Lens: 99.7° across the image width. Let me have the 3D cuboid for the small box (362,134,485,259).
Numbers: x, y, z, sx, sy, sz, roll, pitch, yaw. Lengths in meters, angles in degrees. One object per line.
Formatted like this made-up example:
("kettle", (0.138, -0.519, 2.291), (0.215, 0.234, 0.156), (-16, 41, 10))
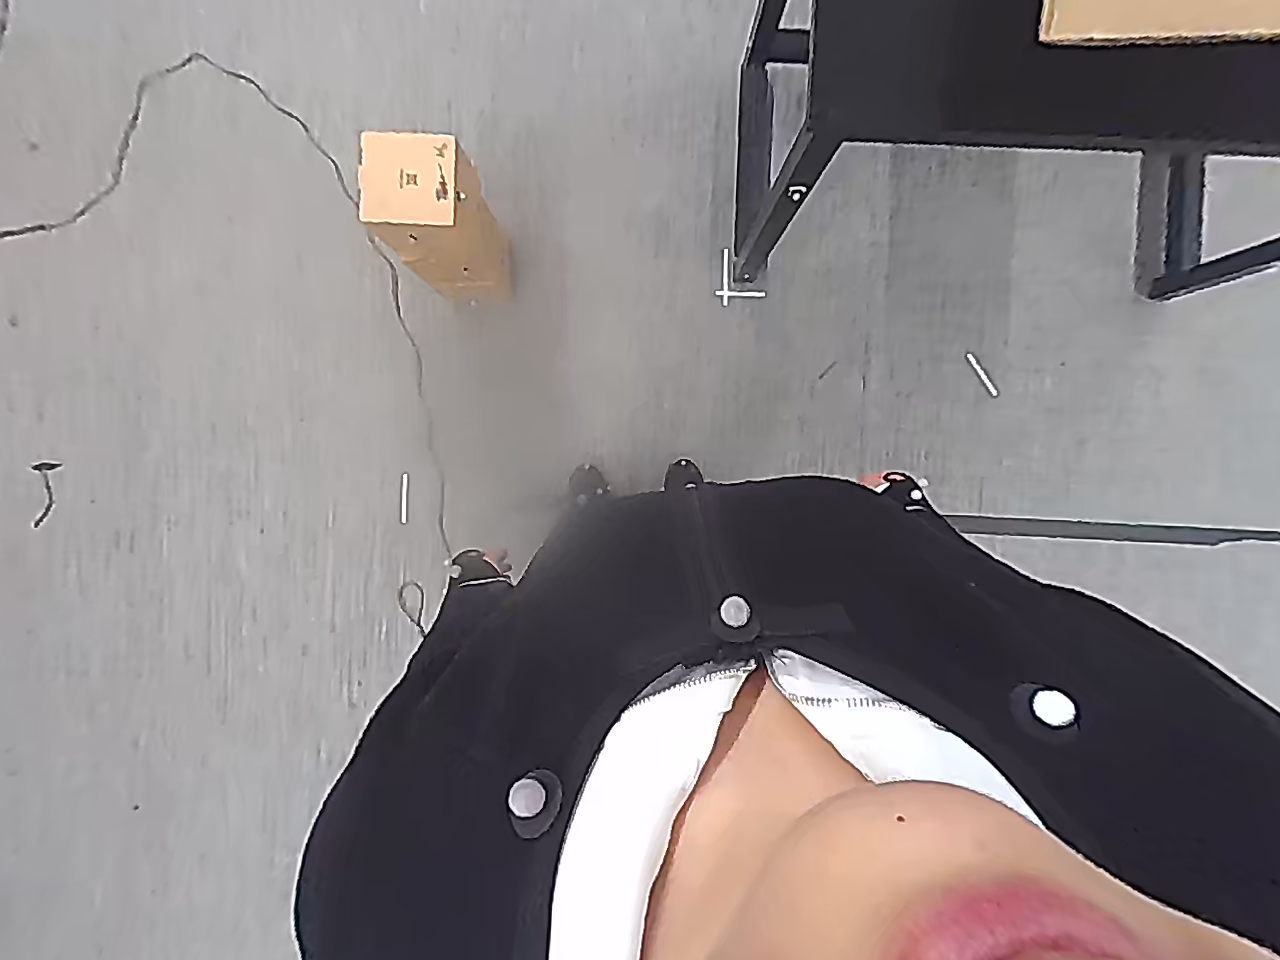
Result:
("small box", (-0.422, -0.553, 1.075), (0.179, 0.176, 0.168), (2, 92, 0))

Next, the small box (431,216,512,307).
("small box", (-0.433, -0.560, 1.400), (0.168, 0.176, 0.179), (-1, 93, 0))

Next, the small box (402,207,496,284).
("small box", (-0.435, -0.560, 1.238), (0.168, 0.176, 0.179), (-5, 91, 0))
